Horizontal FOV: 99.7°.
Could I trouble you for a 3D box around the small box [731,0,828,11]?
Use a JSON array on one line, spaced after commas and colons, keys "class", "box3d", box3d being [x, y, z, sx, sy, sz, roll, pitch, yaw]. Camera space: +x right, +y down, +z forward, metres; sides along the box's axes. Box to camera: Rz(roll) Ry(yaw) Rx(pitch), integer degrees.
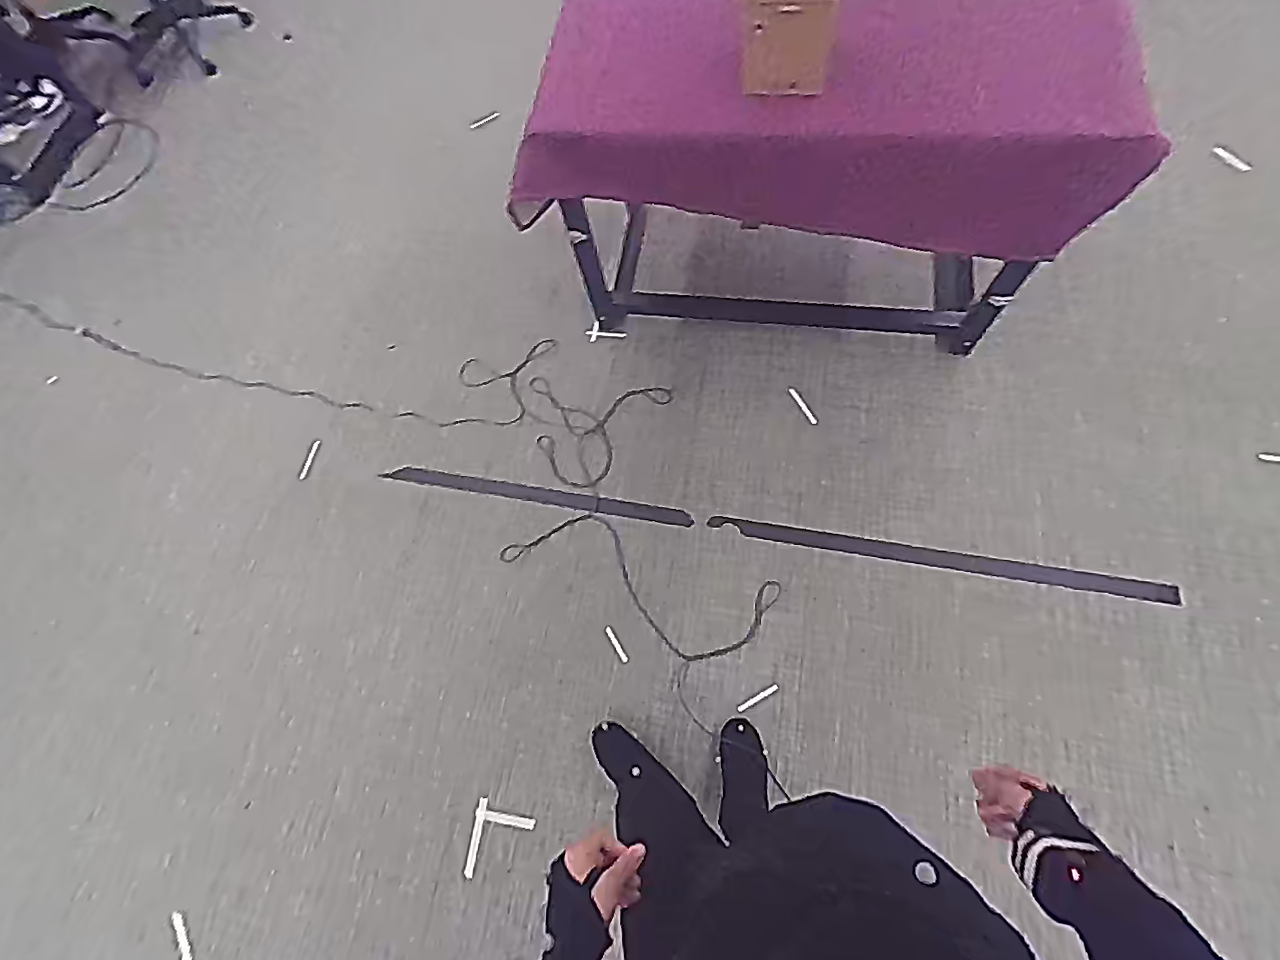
[{"class": "small box", "box3d": [0.254, -0.951, 0.931, 0.179, 0.176, 0.168, 9, 71, 11]}]
